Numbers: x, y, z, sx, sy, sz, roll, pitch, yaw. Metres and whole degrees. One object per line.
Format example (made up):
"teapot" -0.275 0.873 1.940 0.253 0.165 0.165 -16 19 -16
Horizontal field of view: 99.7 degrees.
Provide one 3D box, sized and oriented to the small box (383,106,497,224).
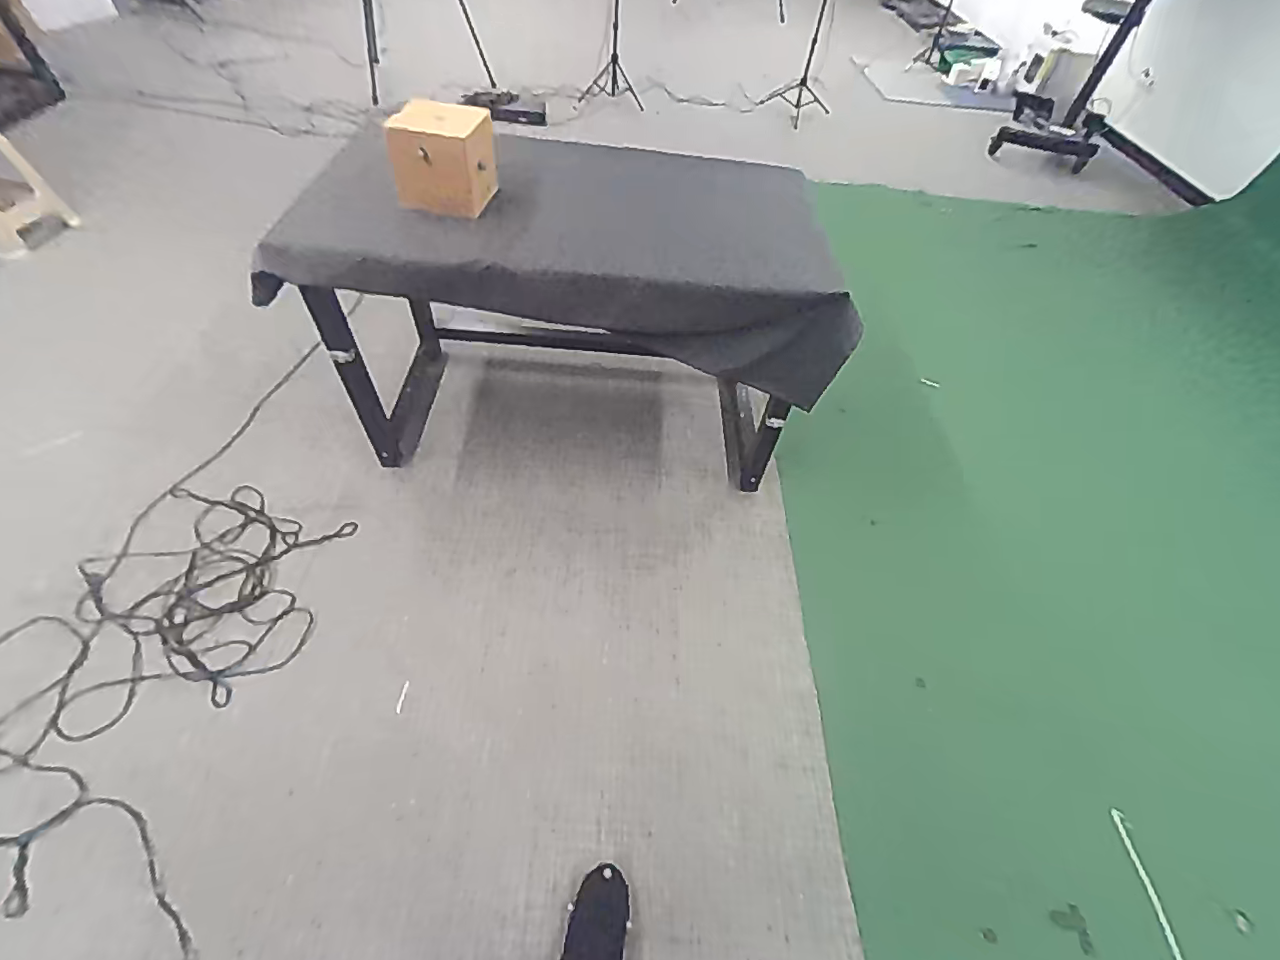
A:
"small box" -0.429 -0.693 1.198 0.179 0.176 0.168 9 51 1
